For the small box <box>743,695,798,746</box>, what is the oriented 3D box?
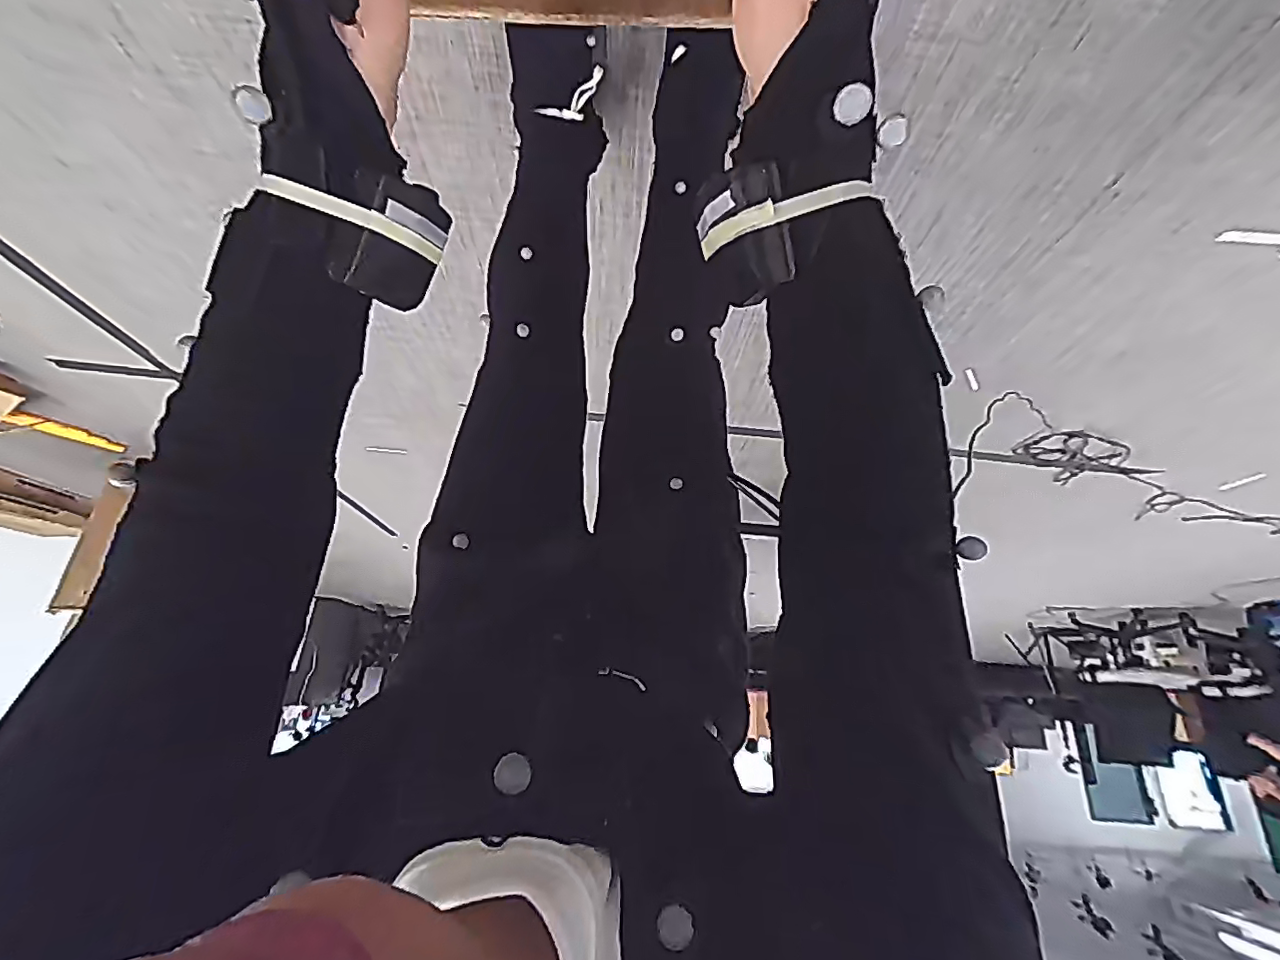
[{"bbox_3d":[0.517,0.956,2.154,0.168,0.176,0.179,6,158,-5],"label":"small box"}]
